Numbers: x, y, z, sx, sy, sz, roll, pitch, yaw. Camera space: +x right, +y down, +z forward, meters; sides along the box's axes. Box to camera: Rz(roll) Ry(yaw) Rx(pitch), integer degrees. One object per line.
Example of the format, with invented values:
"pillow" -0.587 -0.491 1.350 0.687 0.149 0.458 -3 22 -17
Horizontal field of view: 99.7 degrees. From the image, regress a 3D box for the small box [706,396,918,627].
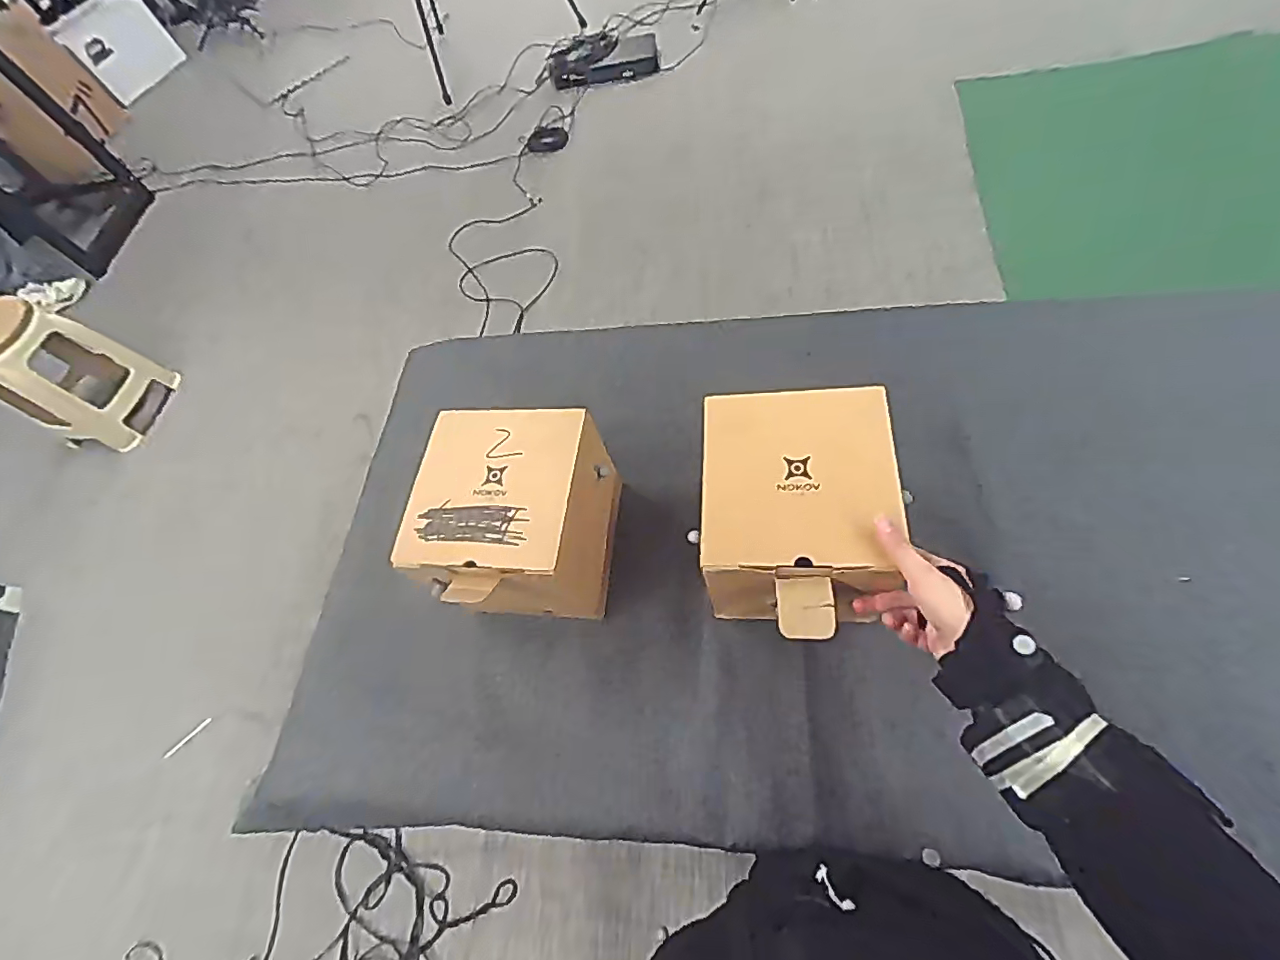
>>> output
"small box" 0.155 0.038 0.538 0.168 0.176 0.179 -2 63 11
